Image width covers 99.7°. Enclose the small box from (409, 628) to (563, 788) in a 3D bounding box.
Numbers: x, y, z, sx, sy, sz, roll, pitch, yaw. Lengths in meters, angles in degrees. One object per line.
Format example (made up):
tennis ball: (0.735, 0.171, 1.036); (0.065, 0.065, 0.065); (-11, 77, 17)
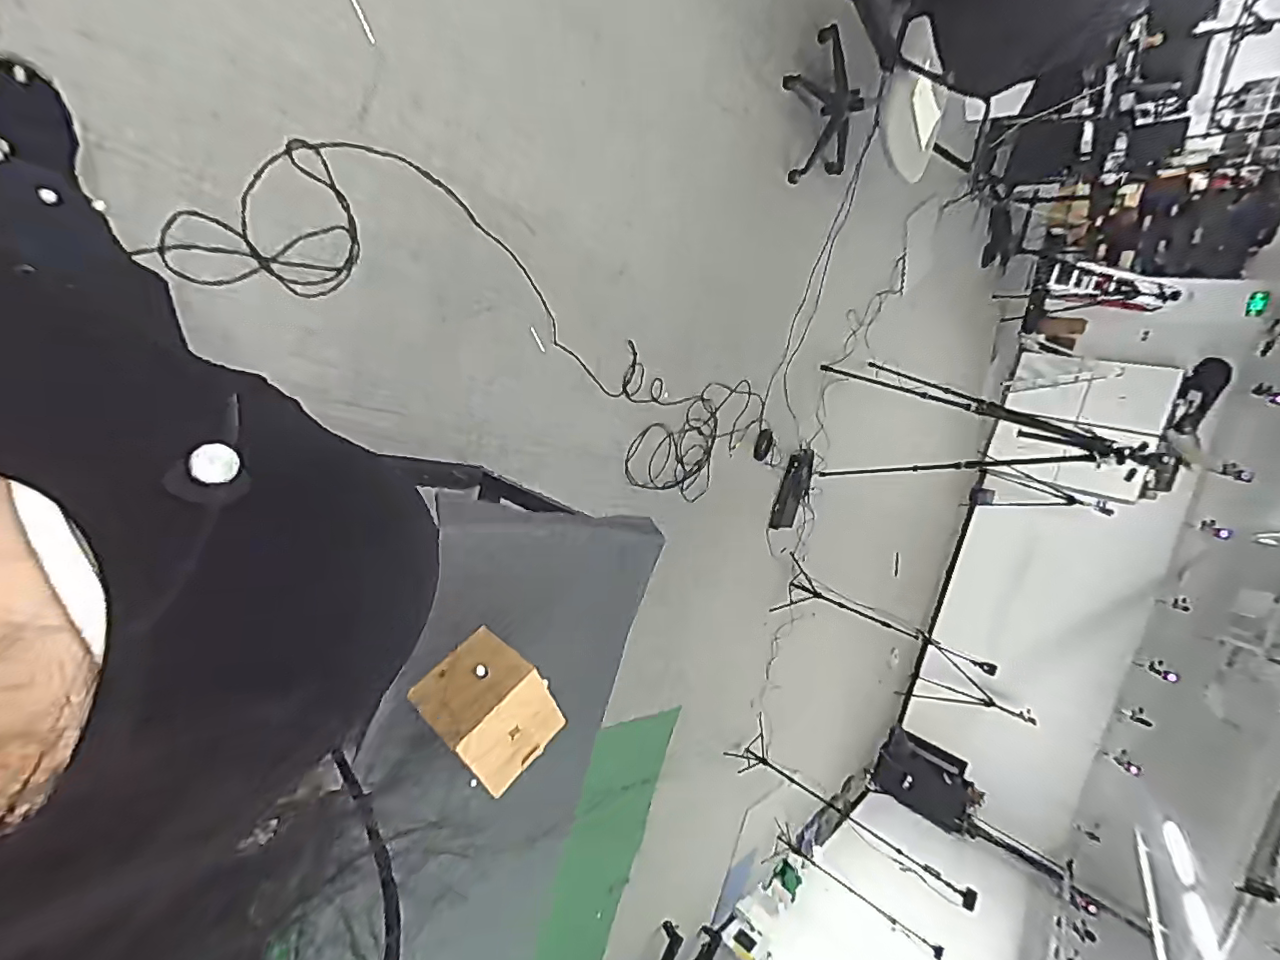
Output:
small box: (-0.271, 0.388, 0.952); (0.168, 0.176, 0.179); (-42, 134, -31)
